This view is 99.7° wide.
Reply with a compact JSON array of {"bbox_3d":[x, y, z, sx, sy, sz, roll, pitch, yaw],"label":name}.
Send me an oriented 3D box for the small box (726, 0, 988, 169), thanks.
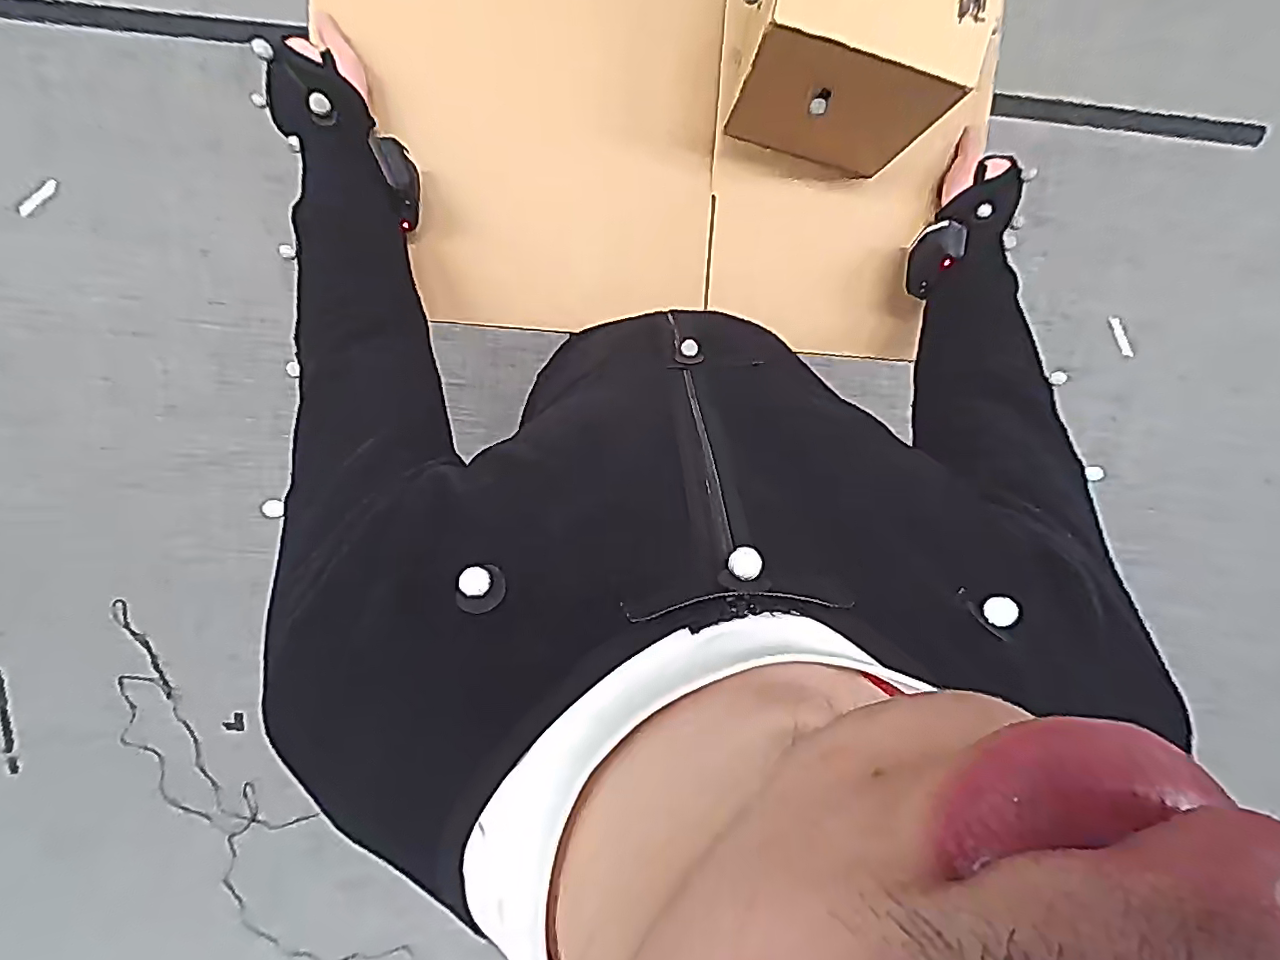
[{"bbox_3d":[0.192,-0.423,0.500,0.179,0.176,0.168,14,96,-5],"label":"small box"}]
